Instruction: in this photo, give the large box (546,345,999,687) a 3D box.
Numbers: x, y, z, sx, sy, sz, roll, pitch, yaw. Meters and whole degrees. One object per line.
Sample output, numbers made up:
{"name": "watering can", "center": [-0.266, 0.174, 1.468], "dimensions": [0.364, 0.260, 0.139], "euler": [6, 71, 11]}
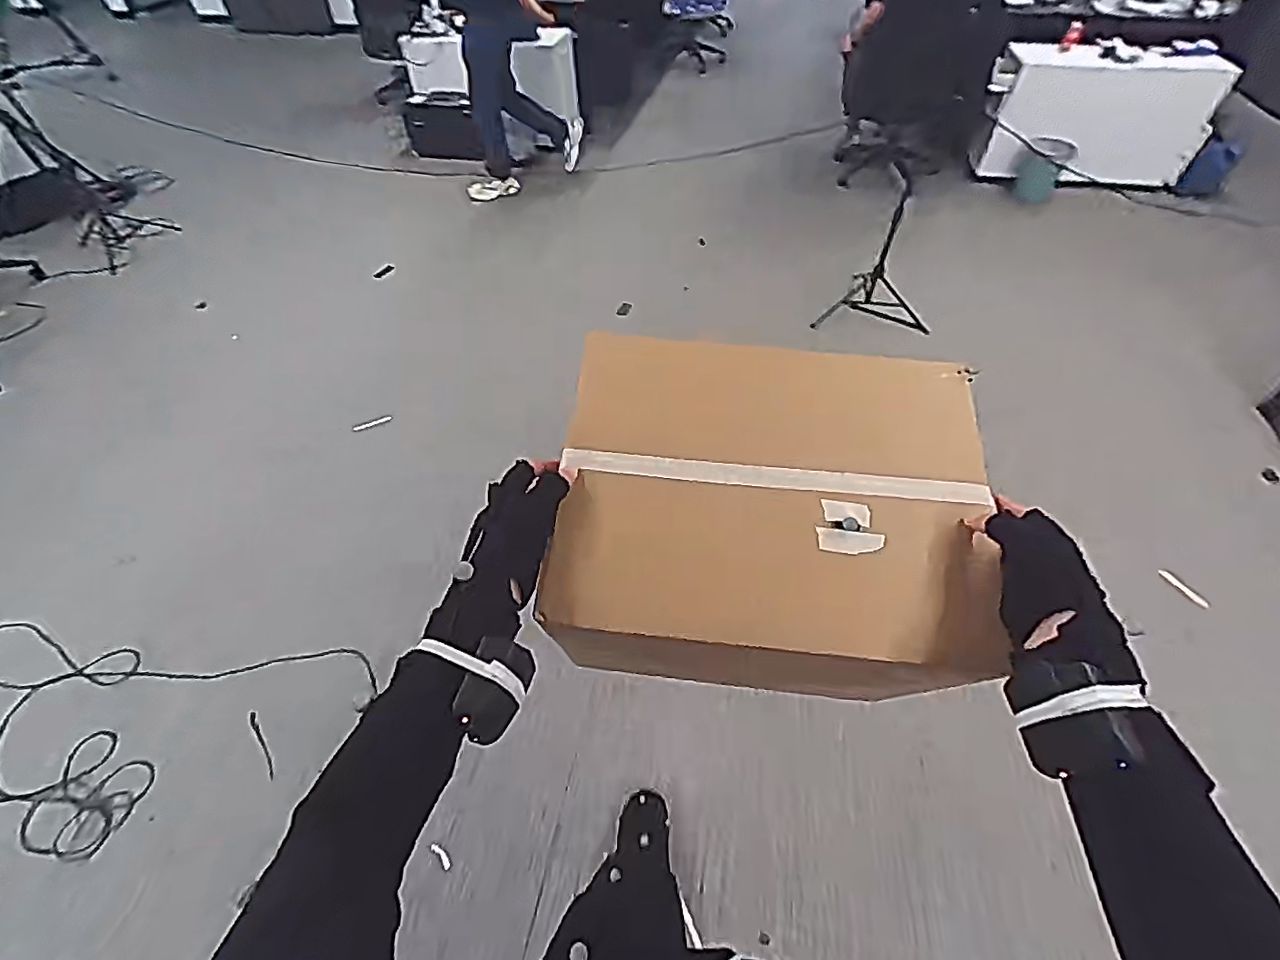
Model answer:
{"name": "large box", "center": [0.123, 0.064, 0.667], "dimensions": [0.408, 0.320, 0.320], "euler": [5, 65, 2]}
